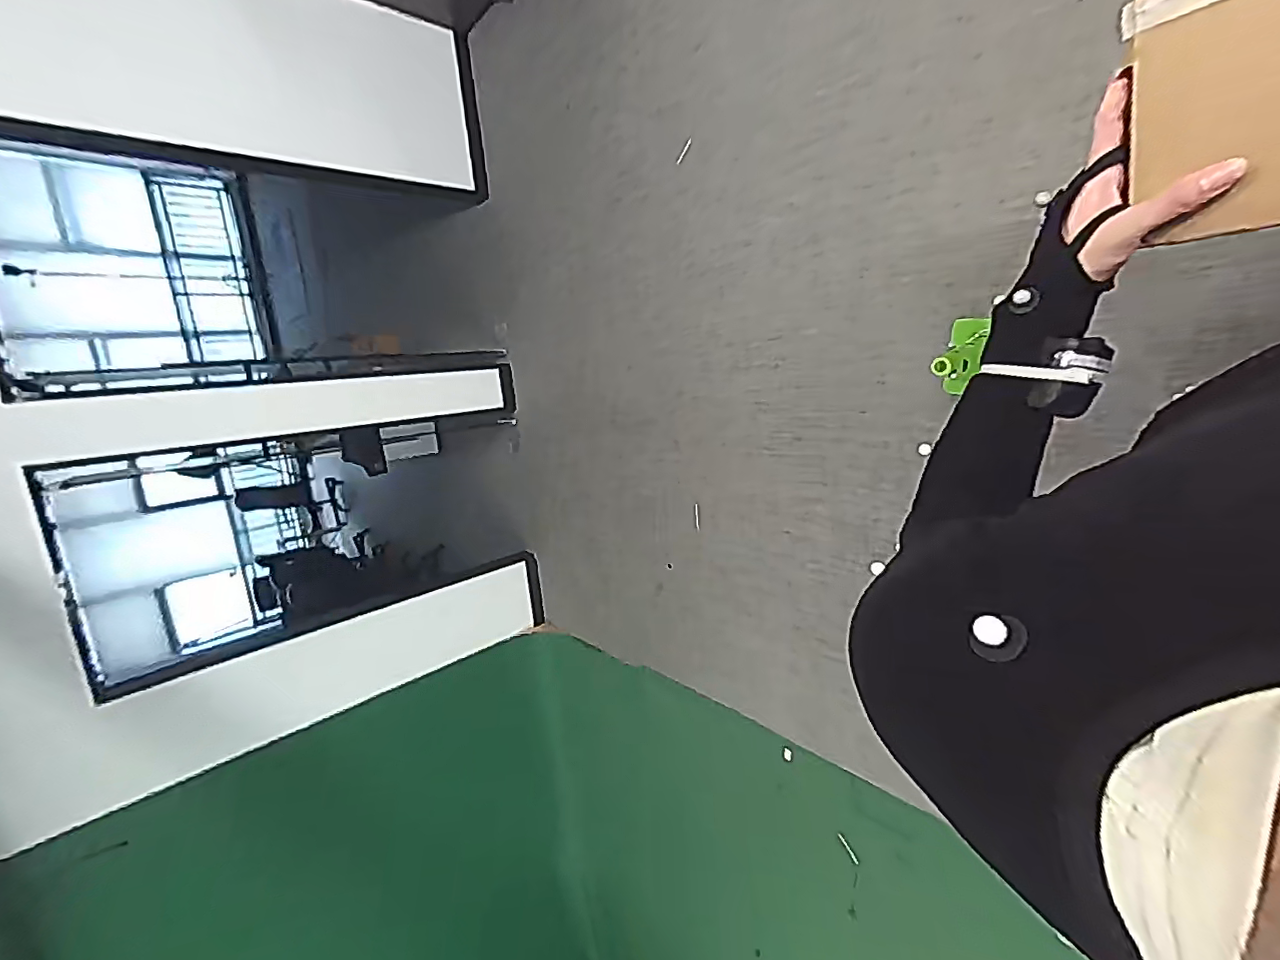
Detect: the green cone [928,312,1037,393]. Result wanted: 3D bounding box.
[{"bbox_3d":[0.782,-0.295,1.306,0.200,0.368,0.202,16,115,45],"label":"green cone"}]
